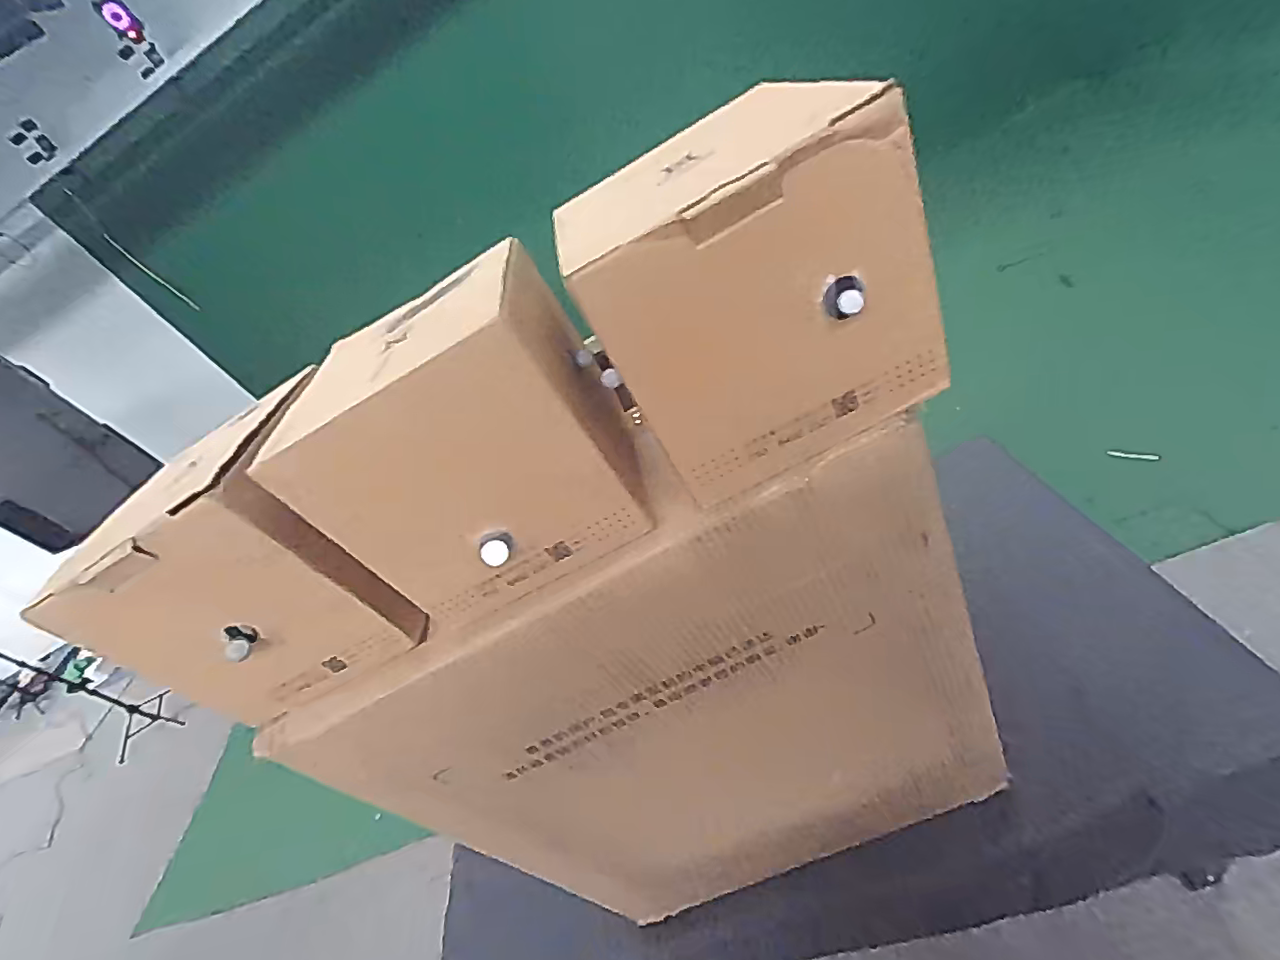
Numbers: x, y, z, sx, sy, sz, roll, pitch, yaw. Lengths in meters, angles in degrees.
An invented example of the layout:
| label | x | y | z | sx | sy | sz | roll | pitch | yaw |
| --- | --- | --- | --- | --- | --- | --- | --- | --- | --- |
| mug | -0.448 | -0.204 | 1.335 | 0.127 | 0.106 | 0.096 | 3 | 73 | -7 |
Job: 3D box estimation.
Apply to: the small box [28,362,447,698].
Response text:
| label | x | y | z | sx | sy | sz | roll | pitch | yaw |
| --- | --- | --- | --- | --- | --- | --- | --- | --- | --- |
| small box | -0.277 | 0.046 | 0.426 | 0.168 | 0.176 | 0.179 | -28 | 36 | 10 |

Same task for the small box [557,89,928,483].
| label | x | y | z | sx | sy | sz | roll | pitch | yaw |
| --- | --- | --- | --- | --- | --- | --- | --- | --- | --- |
| small box | 0.061 | -0.120 | 0.355 | 0.168 | 0.176 | 0.179 | -26 | 35 | 7 |
